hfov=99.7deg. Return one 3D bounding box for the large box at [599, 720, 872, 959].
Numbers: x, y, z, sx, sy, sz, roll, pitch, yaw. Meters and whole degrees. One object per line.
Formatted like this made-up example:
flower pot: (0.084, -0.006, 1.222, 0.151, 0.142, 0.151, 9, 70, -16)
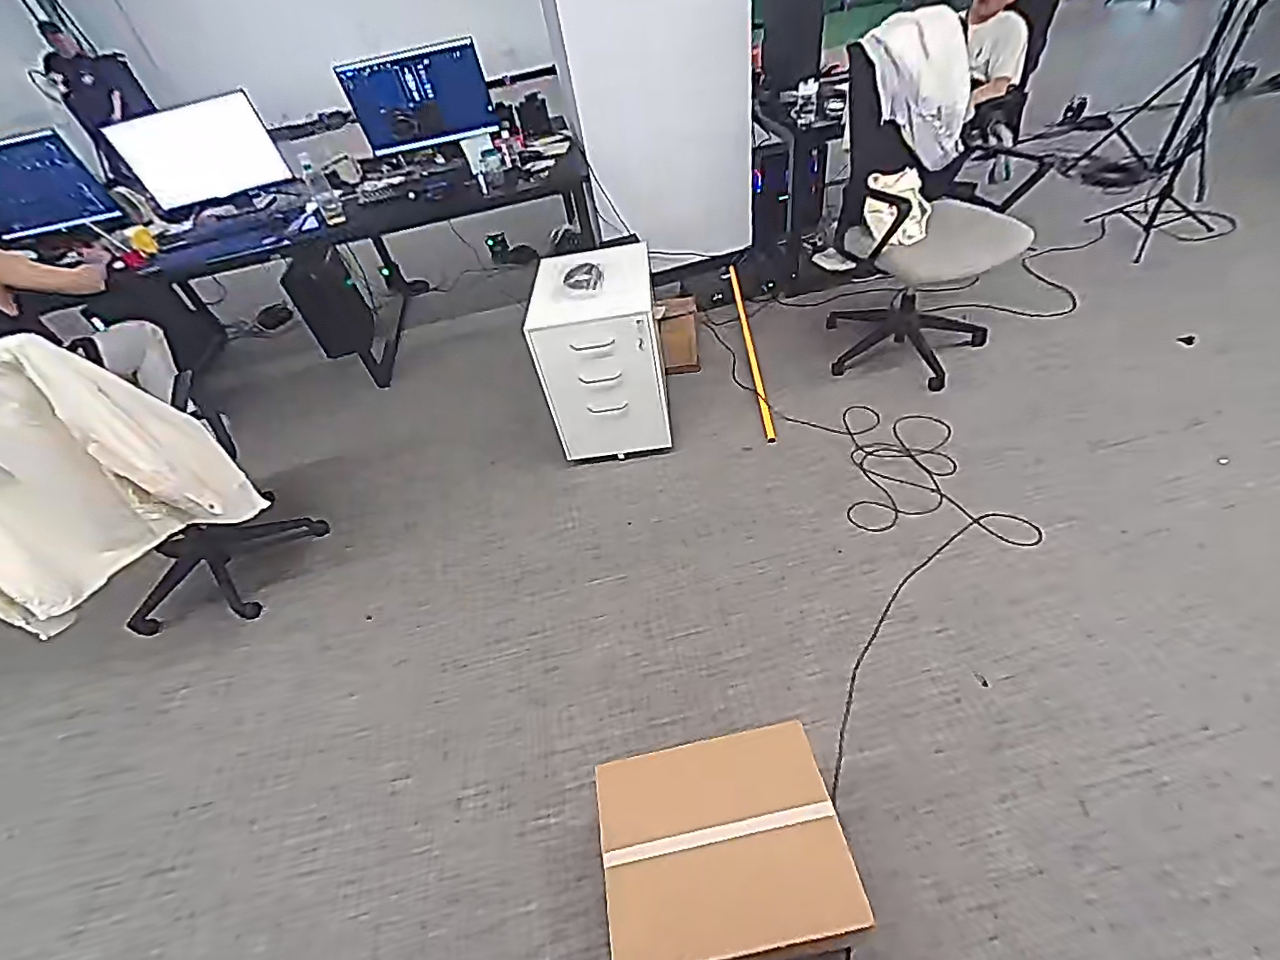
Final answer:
large box: (0.161, 0.712, 1.029, 0.408, 0.320, 0.320, -13, 45, 0)
